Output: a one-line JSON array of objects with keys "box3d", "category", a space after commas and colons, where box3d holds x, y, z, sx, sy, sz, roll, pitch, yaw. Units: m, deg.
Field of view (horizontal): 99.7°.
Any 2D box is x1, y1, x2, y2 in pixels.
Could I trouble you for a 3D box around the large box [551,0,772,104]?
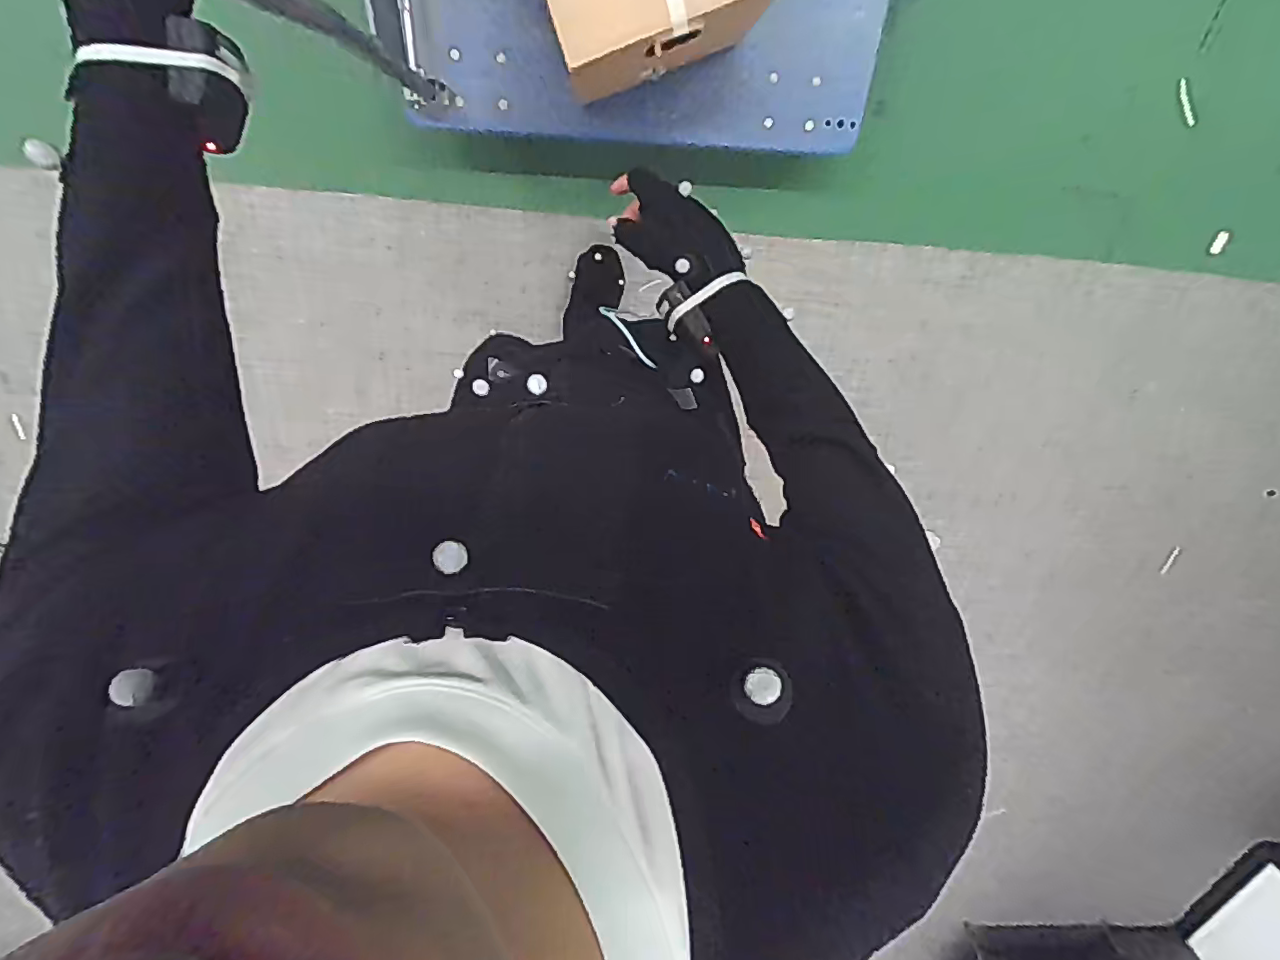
[{"box3d": [-0.012, -0.844, 0.775, 0.320, 0.320, 0.408, -17, 116, 6], "category": "large box"}]
